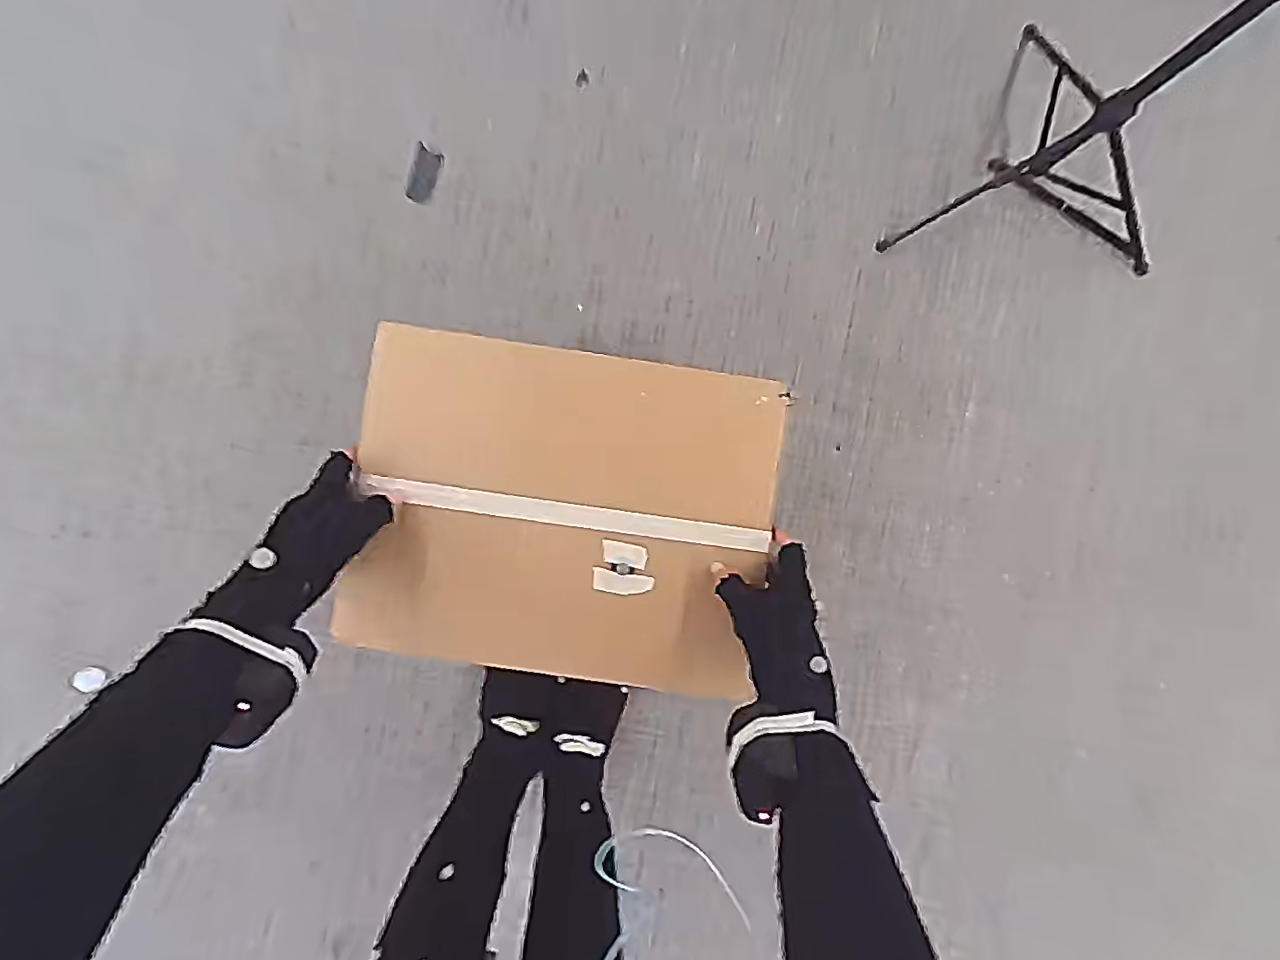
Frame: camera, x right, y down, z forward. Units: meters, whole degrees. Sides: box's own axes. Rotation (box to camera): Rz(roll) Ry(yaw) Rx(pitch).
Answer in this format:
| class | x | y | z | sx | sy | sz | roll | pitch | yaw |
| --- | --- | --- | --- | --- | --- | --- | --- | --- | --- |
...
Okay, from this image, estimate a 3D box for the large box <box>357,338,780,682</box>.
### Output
| class | x | y | z | sx | sy | sz | roll | pitch | yaw |
| --- | --- | --- | --- | --- | --- | --- | --- | --- | --- |
| large box | -0.076 | 0.034 | 0.698 | 0.408 | 0.320 | 0.320 | 8 | 90 | -1 |
